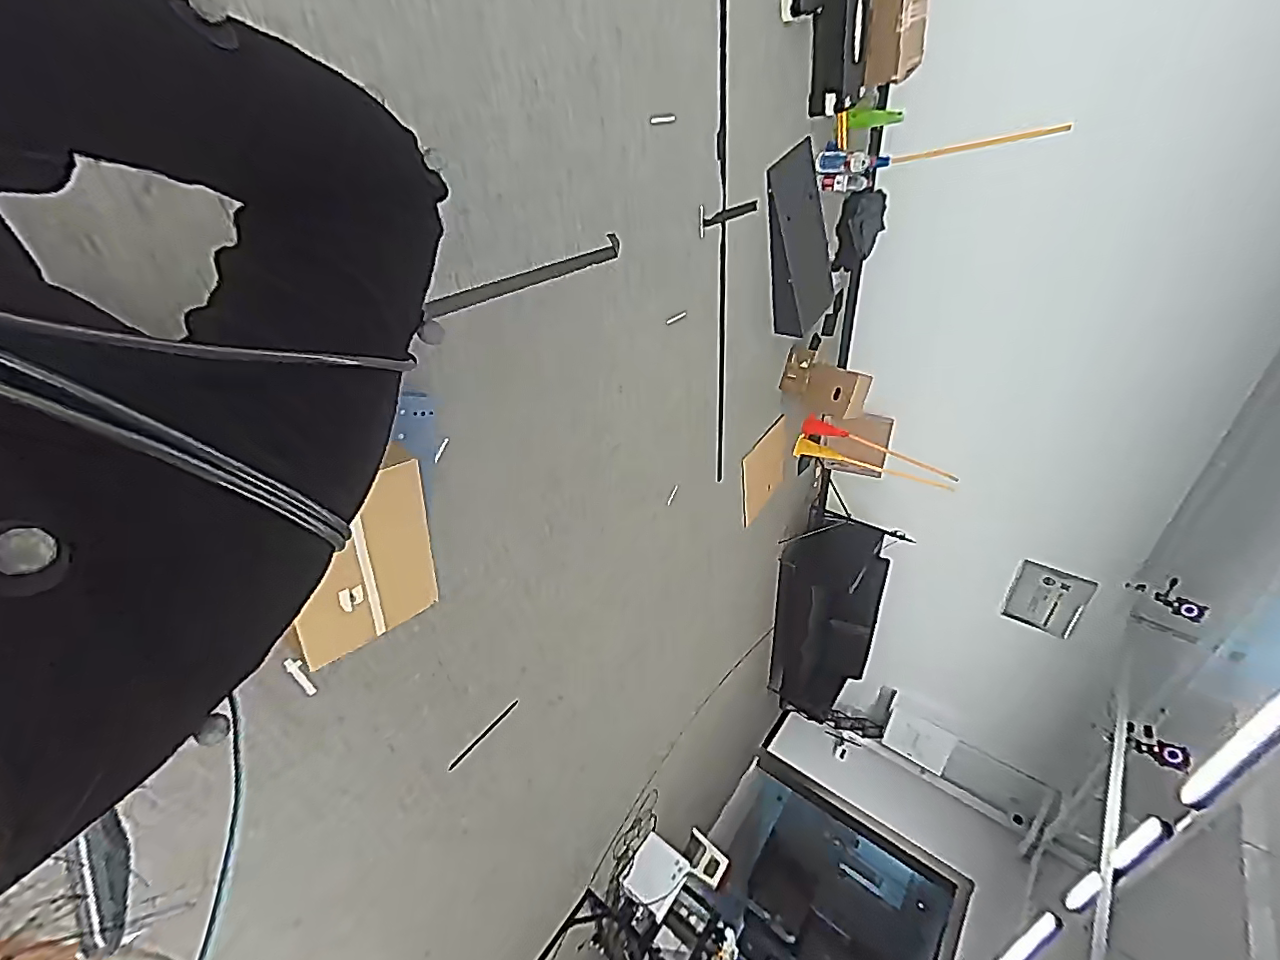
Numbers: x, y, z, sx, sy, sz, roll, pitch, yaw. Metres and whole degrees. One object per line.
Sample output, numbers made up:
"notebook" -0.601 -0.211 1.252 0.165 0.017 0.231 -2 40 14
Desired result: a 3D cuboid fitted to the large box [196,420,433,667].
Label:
"large box" -0.717 0.123 1.230 0.320 0.320 0.408 -27 130 -45
